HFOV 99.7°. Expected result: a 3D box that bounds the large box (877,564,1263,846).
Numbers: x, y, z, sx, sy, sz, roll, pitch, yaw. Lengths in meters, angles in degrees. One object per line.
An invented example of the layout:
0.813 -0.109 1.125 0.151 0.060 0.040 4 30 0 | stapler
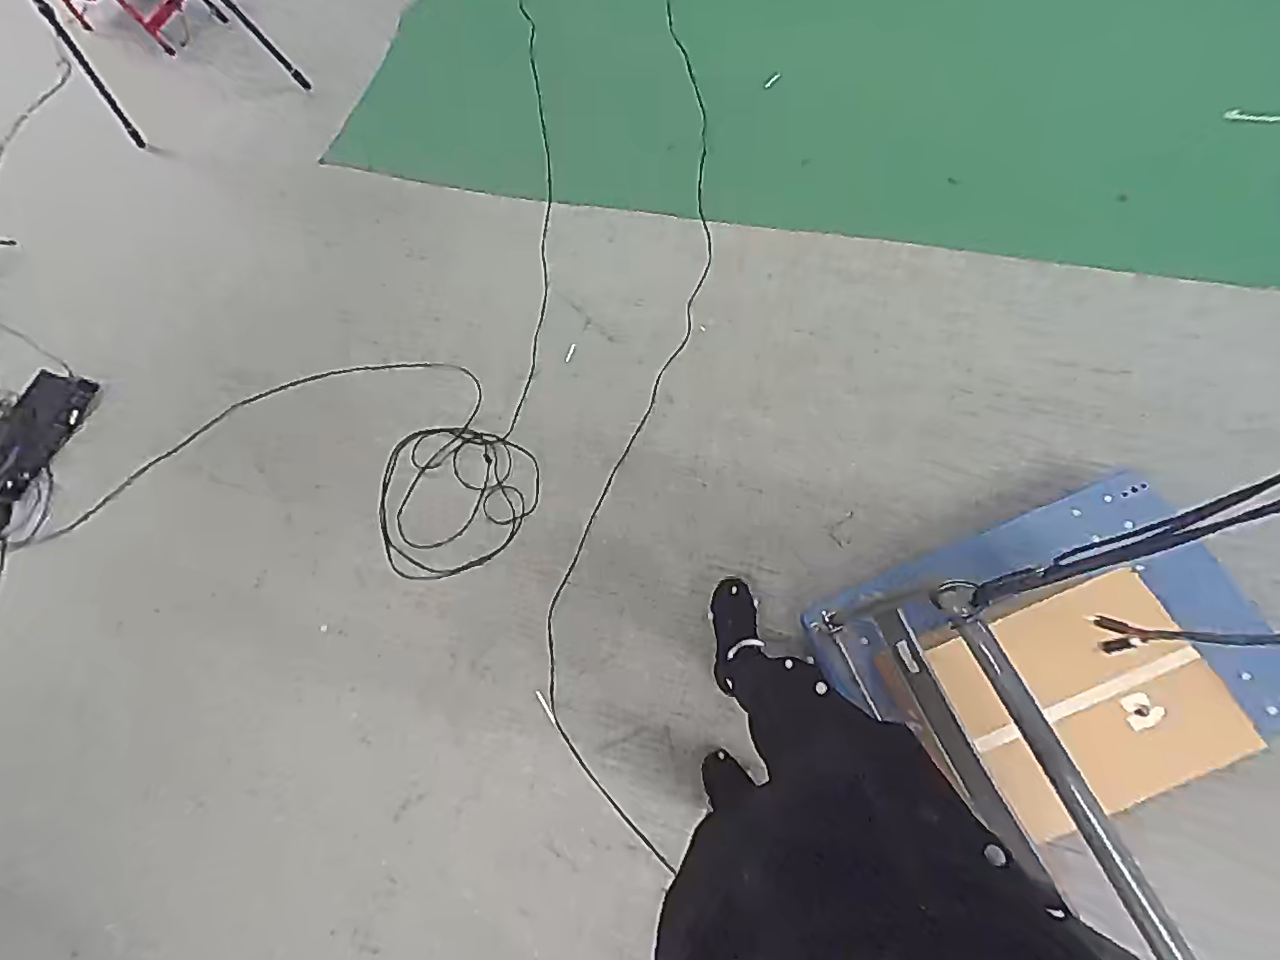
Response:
0.740 0.403 1.018 0.408 0.320 0.320 -23 70 -1 | large box
